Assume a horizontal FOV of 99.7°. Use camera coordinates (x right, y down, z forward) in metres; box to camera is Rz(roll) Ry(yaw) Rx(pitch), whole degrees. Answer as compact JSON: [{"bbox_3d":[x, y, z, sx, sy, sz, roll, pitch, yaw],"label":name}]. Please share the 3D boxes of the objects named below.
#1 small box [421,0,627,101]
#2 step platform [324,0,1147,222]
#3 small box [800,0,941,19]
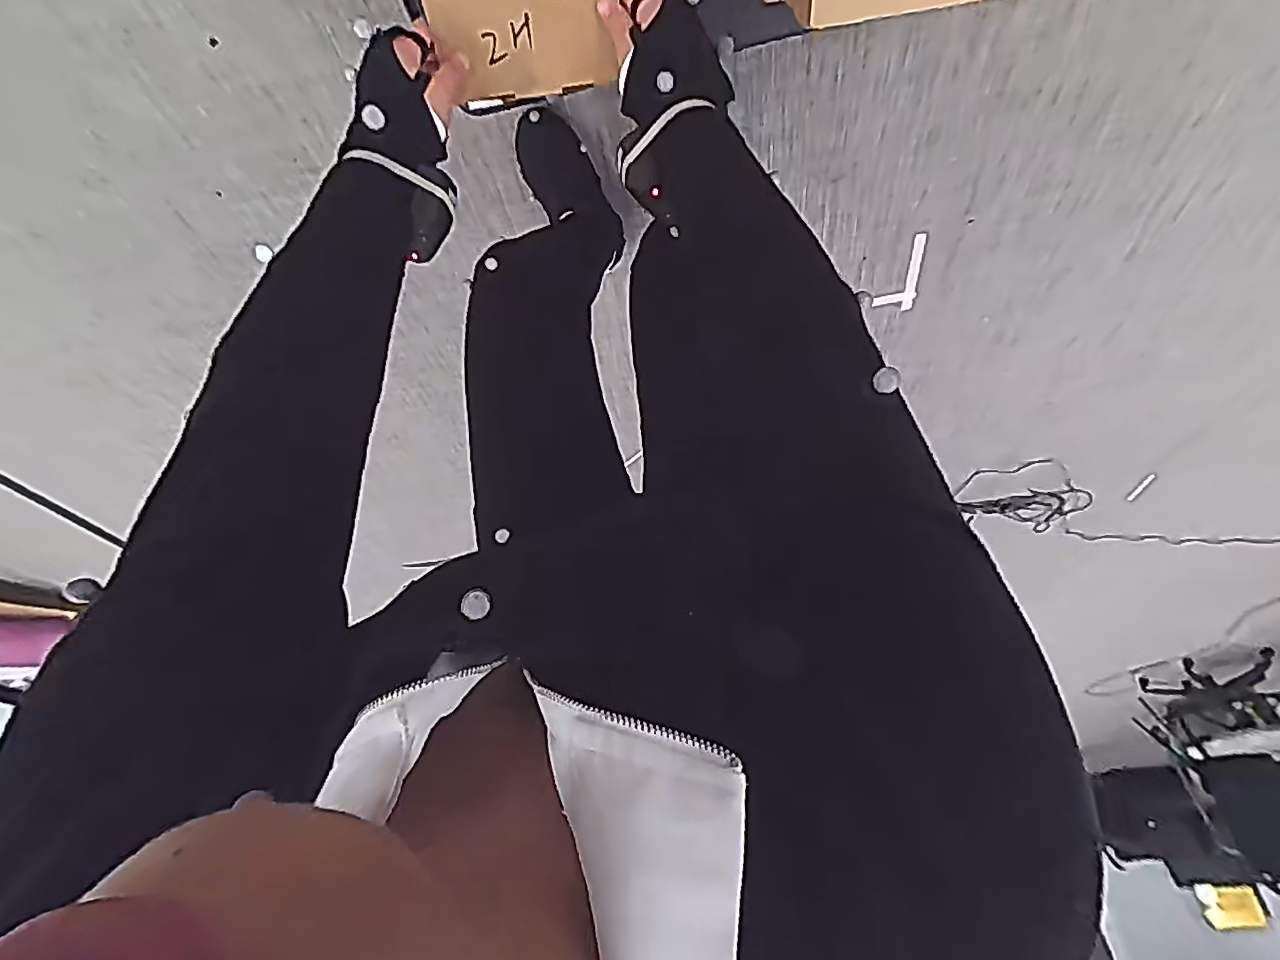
[{"bbox_3d":[-0.102,-0.464,0.491,0.168,0.176,0.179,-4,131,3],"label":"small box"},{"bbox_3d":[0.078,-0.475,0.493,0.684,0.204,0.286,-9,142,8],"label":"step platform"},{"bbox_3d":[0.185,-0.431,0.346,0.179,0.176,0.168,-5,142,5],"label":"small box"}]
